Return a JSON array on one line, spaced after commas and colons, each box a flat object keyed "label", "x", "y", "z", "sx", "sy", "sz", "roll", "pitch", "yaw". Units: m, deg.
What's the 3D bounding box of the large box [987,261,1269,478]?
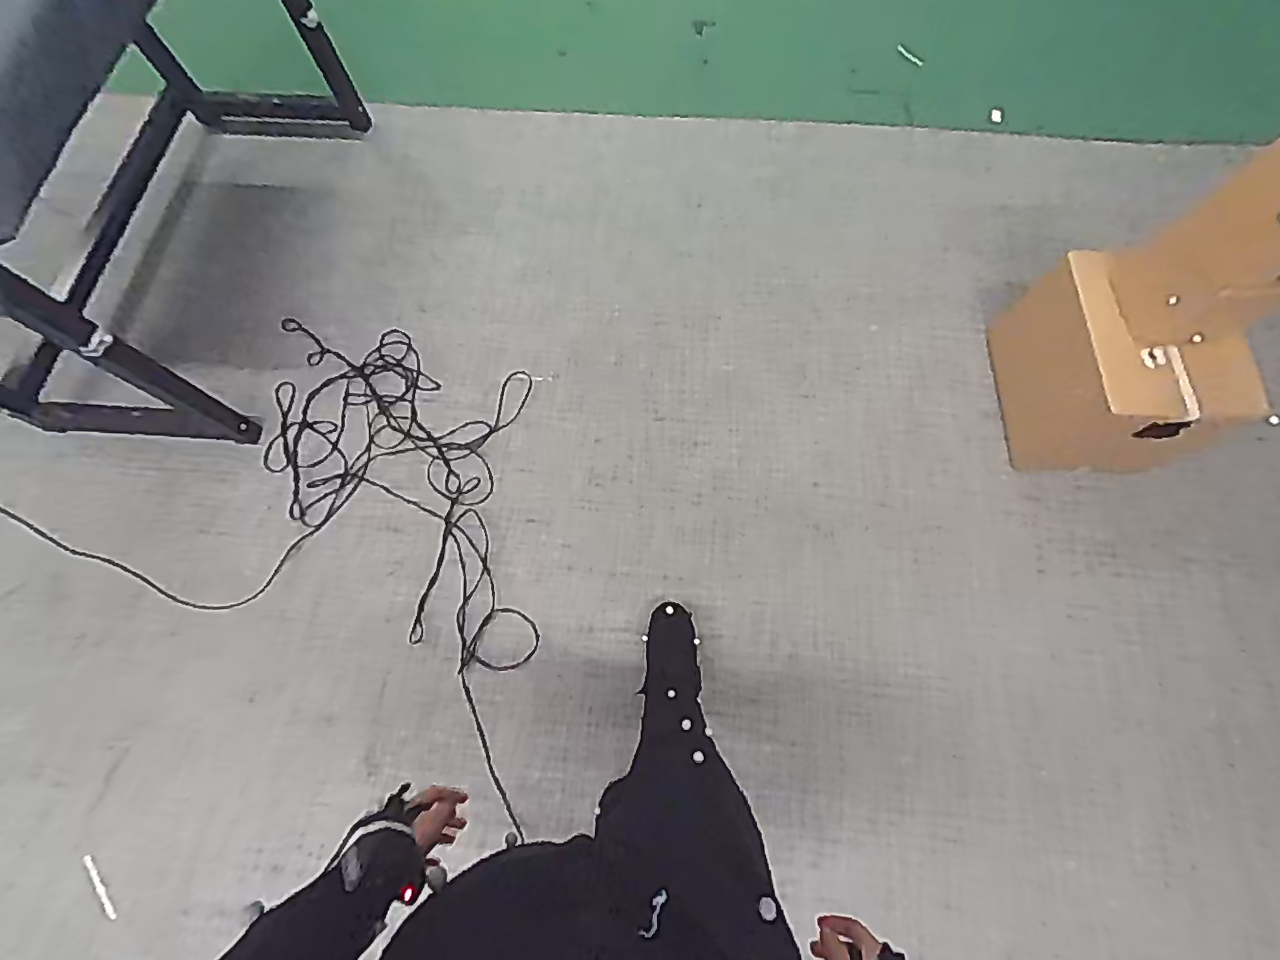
[{"label": "large box", "x": 1.083, "y": -0.243, "z": 1.262, "sx": 0.320, "sy": 0.320, "sz": 0.408, "roll": 1, "pitch": 71, "yaw": 3}]
